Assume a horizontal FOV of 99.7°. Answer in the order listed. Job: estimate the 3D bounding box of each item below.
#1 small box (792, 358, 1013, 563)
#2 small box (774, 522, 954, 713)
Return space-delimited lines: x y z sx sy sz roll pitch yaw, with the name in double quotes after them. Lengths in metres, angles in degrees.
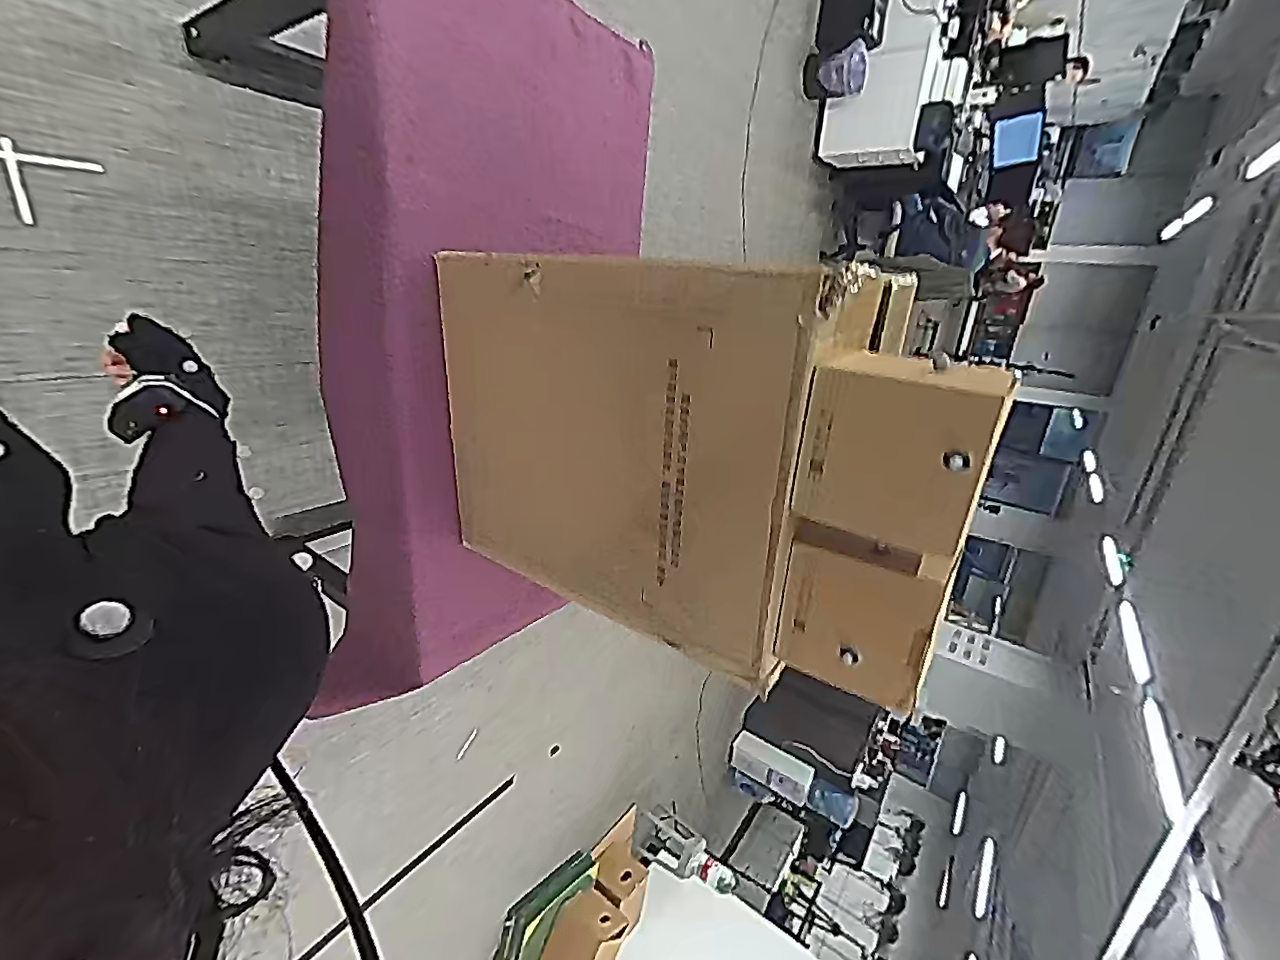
0.287 -0.037 0.597 0.179 0.176 0.168 -25 125 -51 "small box"
0.287 0.153 0.692 0.179 0.176 0.168 -19 120 -54 "small box"
